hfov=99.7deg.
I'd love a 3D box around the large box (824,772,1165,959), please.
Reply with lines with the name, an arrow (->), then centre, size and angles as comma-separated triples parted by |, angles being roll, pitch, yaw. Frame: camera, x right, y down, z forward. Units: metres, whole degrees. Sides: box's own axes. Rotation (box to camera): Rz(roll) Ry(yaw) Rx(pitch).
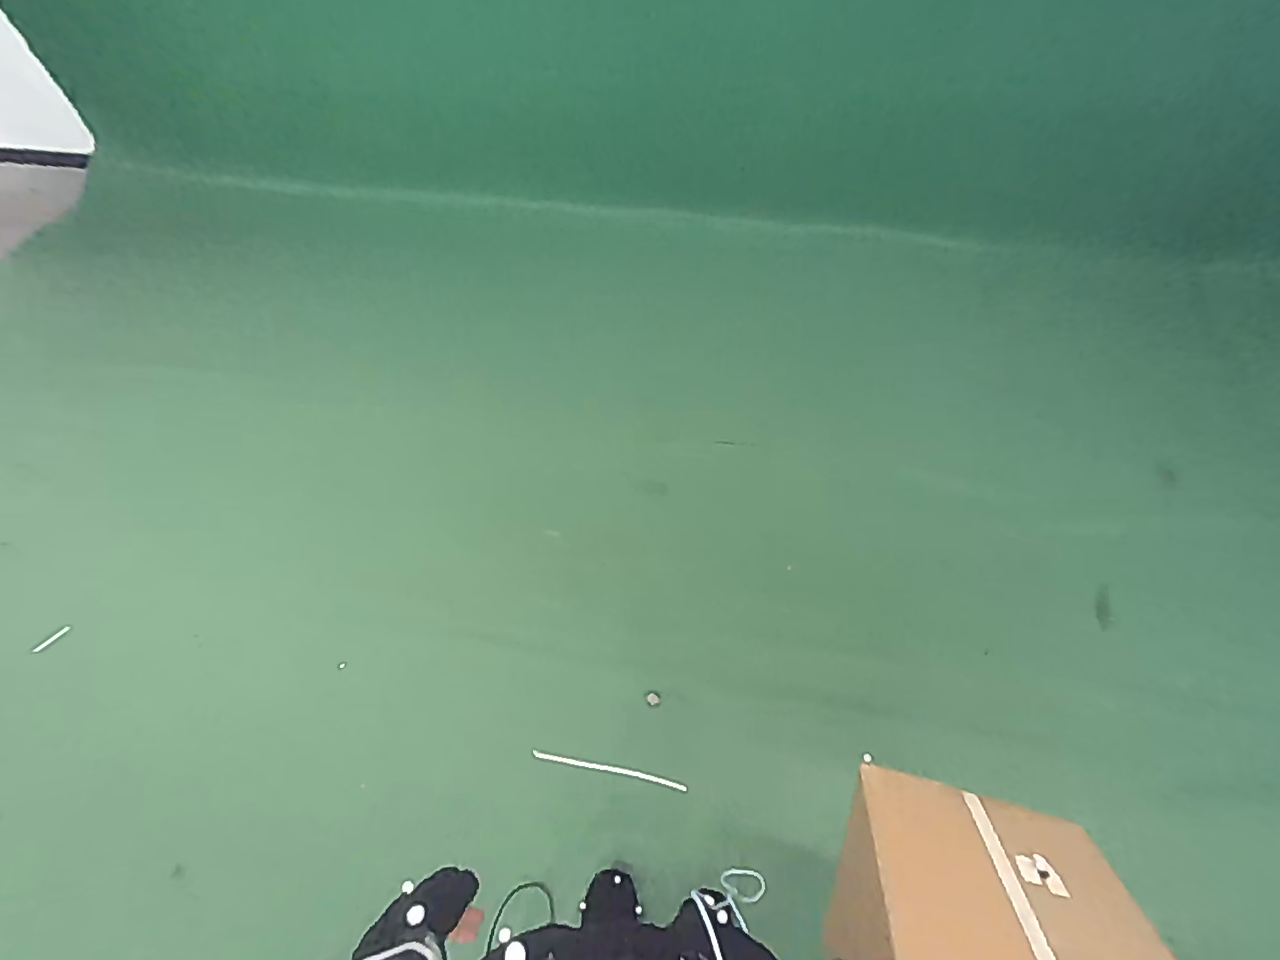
large box -> 0.421, 0.658, 0.656 | 0.320, 0.408, 0.320 | 12, 99, 14
